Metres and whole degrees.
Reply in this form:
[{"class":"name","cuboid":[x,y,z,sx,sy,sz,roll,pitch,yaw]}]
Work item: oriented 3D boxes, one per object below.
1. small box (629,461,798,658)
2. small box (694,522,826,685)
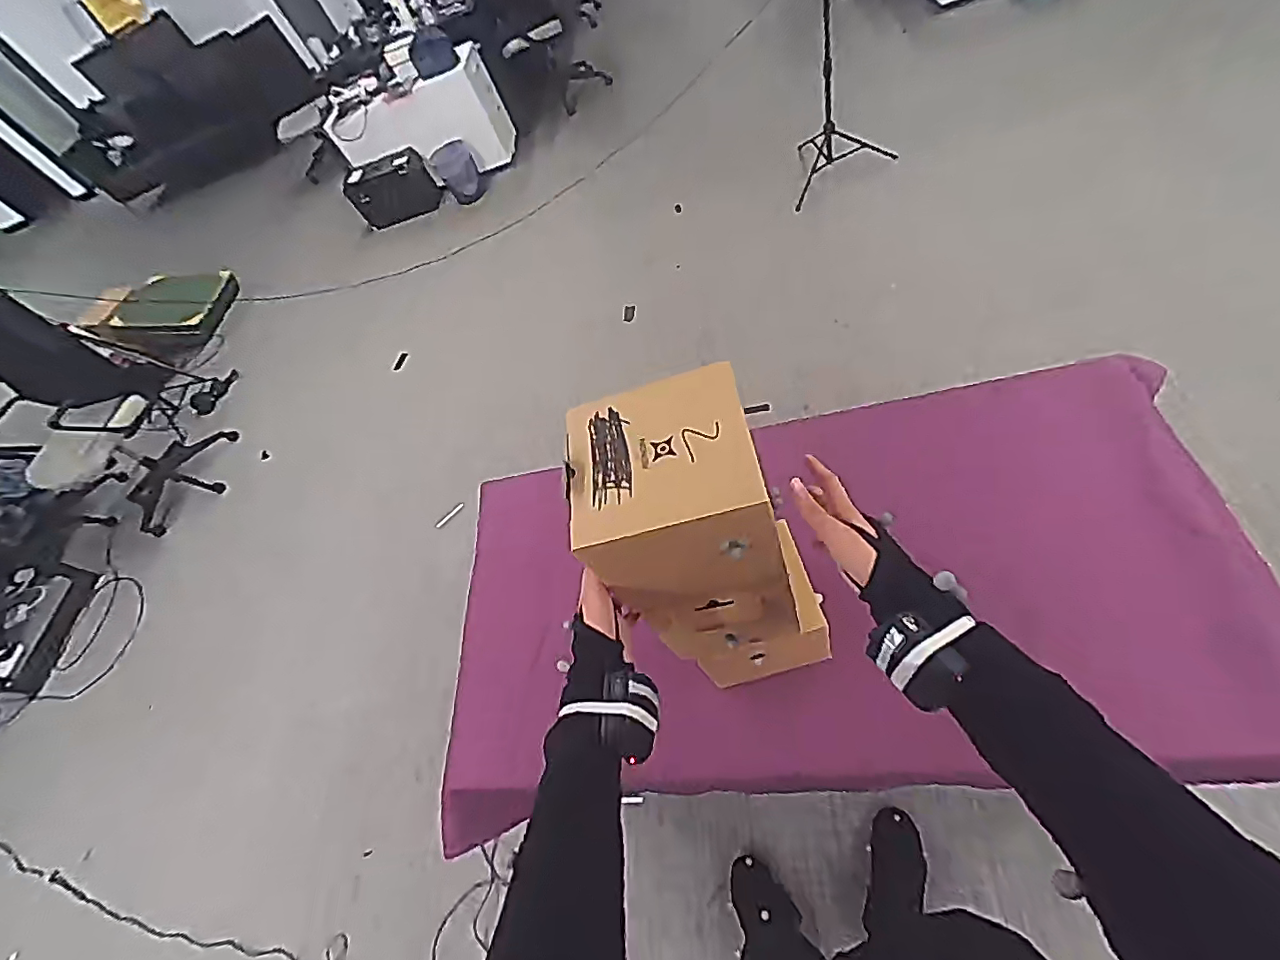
[{"class":"small box","cuboid":[0.094,0.107,0.685,0.168,0.176,0.179,-15,55,12]},{"class":"small box","cuboid":[0.165,0.192,0.808,0.179,0.176,0.168,-19,55,8]}]
